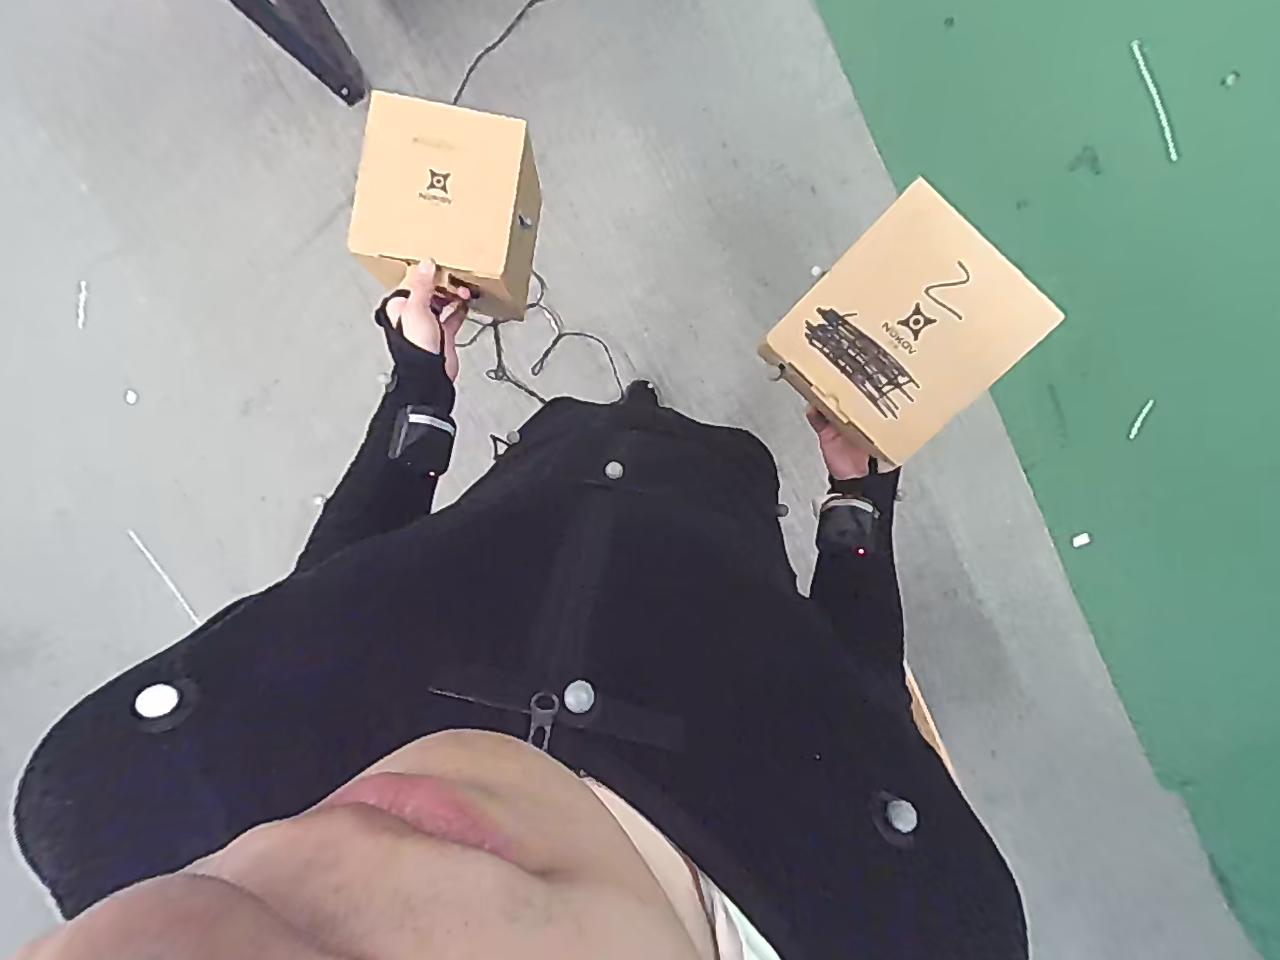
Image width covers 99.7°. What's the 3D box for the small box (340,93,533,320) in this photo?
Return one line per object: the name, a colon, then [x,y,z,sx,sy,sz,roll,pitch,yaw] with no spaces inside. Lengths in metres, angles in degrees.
small box: [-0.230,-0.311,0.655,0.168,0.176,0.179,9,89,-5]
